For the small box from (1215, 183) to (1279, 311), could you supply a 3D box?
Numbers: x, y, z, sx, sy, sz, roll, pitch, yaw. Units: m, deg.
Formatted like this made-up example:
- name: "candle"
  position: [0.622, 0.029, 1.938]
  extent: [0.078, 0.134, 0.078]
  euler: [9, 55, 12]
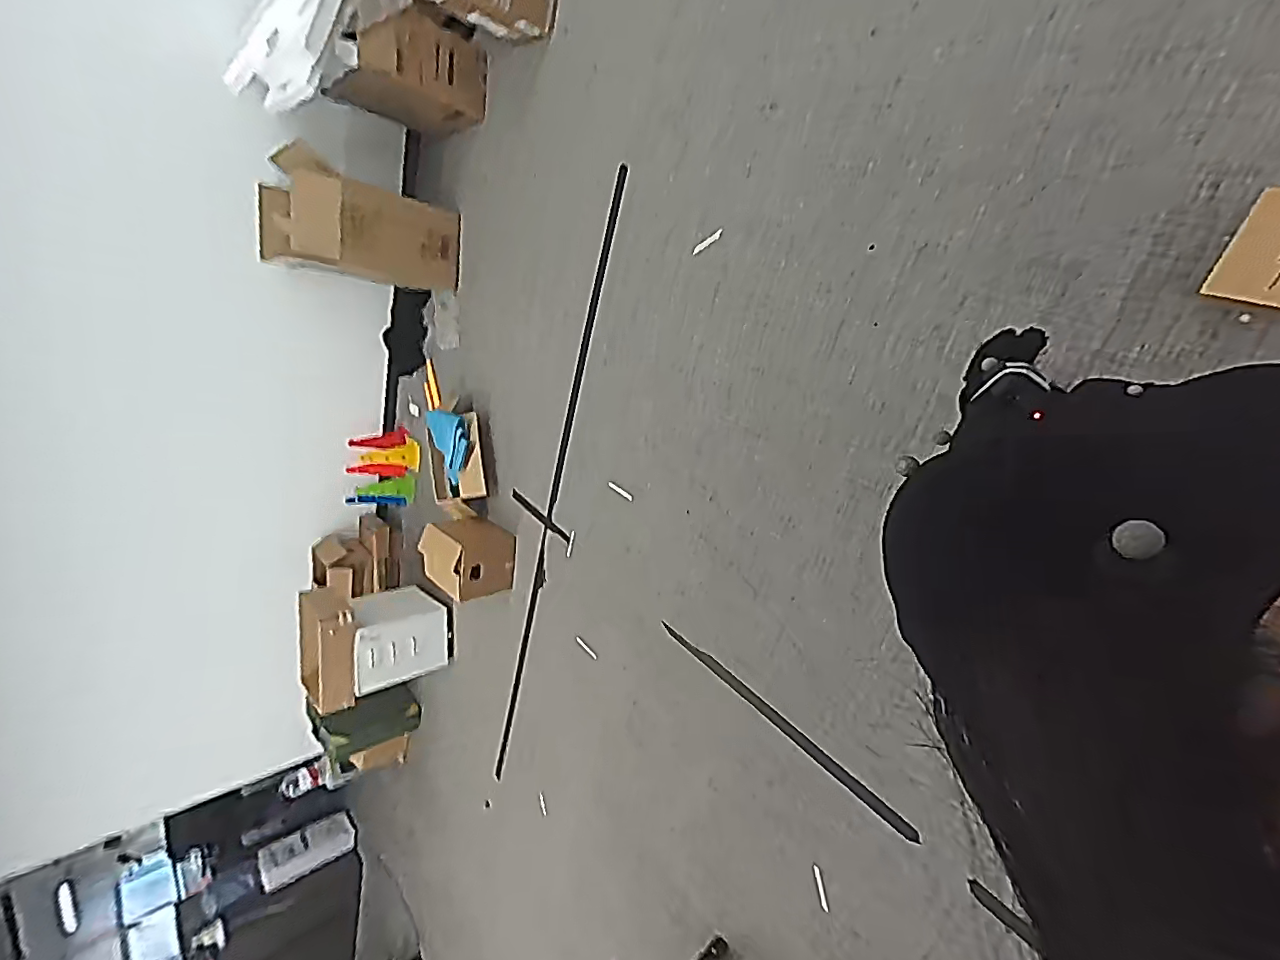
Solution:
- name: "small box"
  position: [1.128, -0.389, 0.914]
  extent: [0.168, 0.176, 0.179]
  euler: [35, 120, 38]
